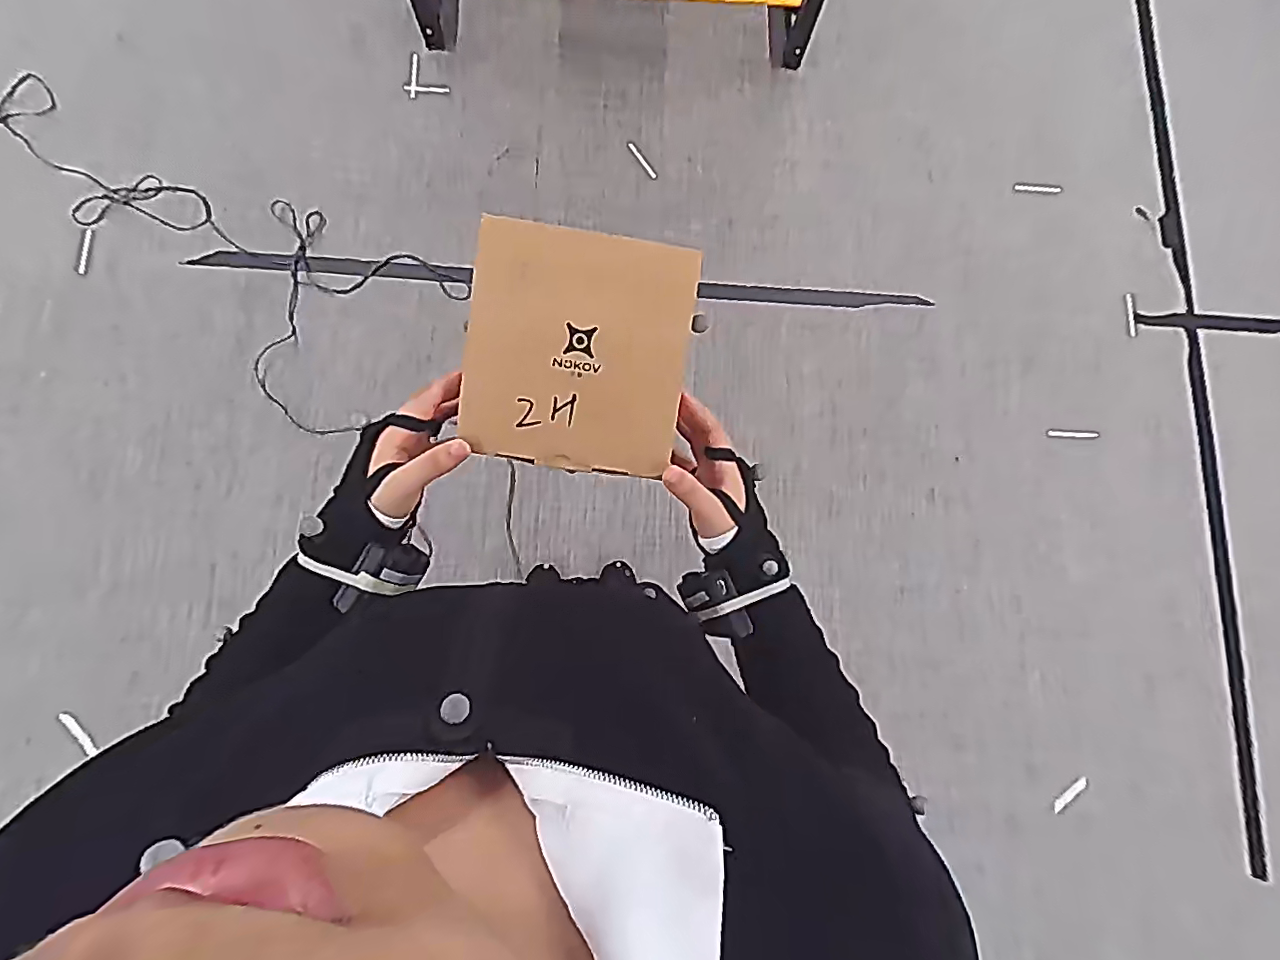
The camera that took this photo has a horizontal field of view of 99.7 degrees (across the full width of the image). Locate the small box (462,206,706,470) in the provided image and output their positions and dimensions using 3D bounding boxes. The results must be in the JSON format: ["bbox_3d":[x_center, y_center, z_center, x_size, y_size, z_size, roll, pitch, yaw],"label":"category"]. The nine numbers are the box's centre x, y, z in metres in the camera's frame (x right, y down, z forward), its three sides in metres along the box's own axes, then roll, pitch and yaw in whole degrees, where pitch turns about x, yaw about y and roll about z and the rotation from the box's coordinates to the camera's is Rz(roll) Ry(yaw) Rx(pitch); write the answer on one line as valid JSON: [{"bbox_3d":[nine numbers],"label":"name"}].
[{"bbox_3d":[-0.046,-0.112,0.487,0.168,0.176,0.179,8,96,-3],"label":"small box"}]
